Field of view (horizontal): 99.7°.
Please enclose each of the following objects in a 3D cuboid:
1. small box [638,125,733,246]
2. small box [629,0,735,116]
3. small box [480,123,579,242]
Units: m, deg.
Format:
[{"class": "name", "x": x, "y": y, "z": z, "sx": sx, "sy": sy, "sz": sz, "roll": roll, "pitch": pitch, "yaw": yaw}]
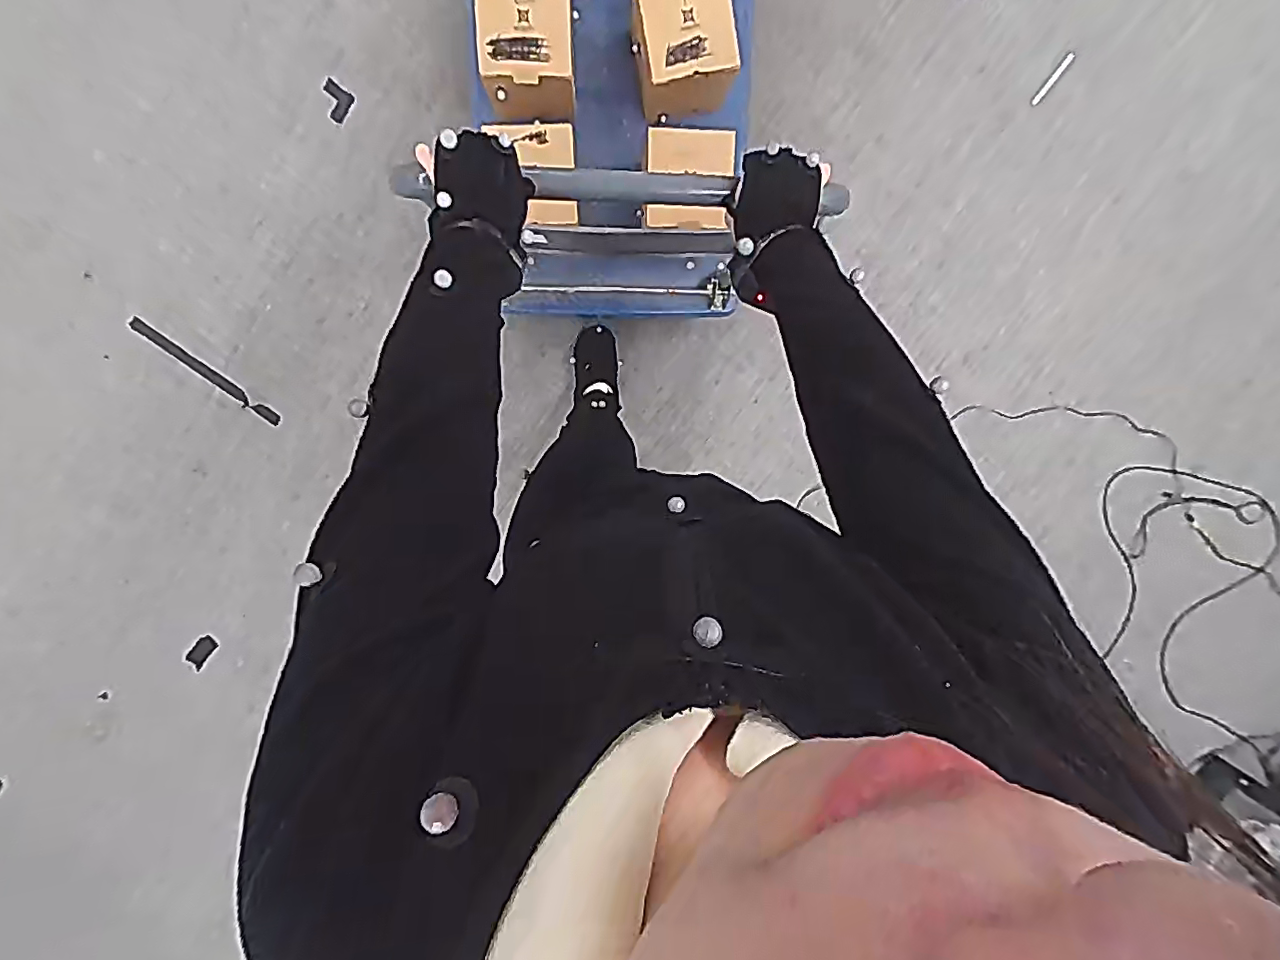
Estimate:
[{"class": "small box", "x": 0.085, "y": -0.586, "z": 1.100, "sx": 0.168, "sy": 0.176, "sz": 0.179, "roll": 0, "pitch": 101, "yaw": -5}, {"class": "small box", "x": 0.076, "y": -0.839, "z": 1.046, "sx": 0.168, "sy": 0.176, "sz": 0.179, "roll": -12, "pitch": 101, "yaw": -2}, {"class": "small box", "x": -0.211, "y": -0.580, "z": 1.077, "sx": 0.168, "sy": 0.176, "sz": 0.179, "roll": -4, "pitch": 102, "yaw": -5}]
